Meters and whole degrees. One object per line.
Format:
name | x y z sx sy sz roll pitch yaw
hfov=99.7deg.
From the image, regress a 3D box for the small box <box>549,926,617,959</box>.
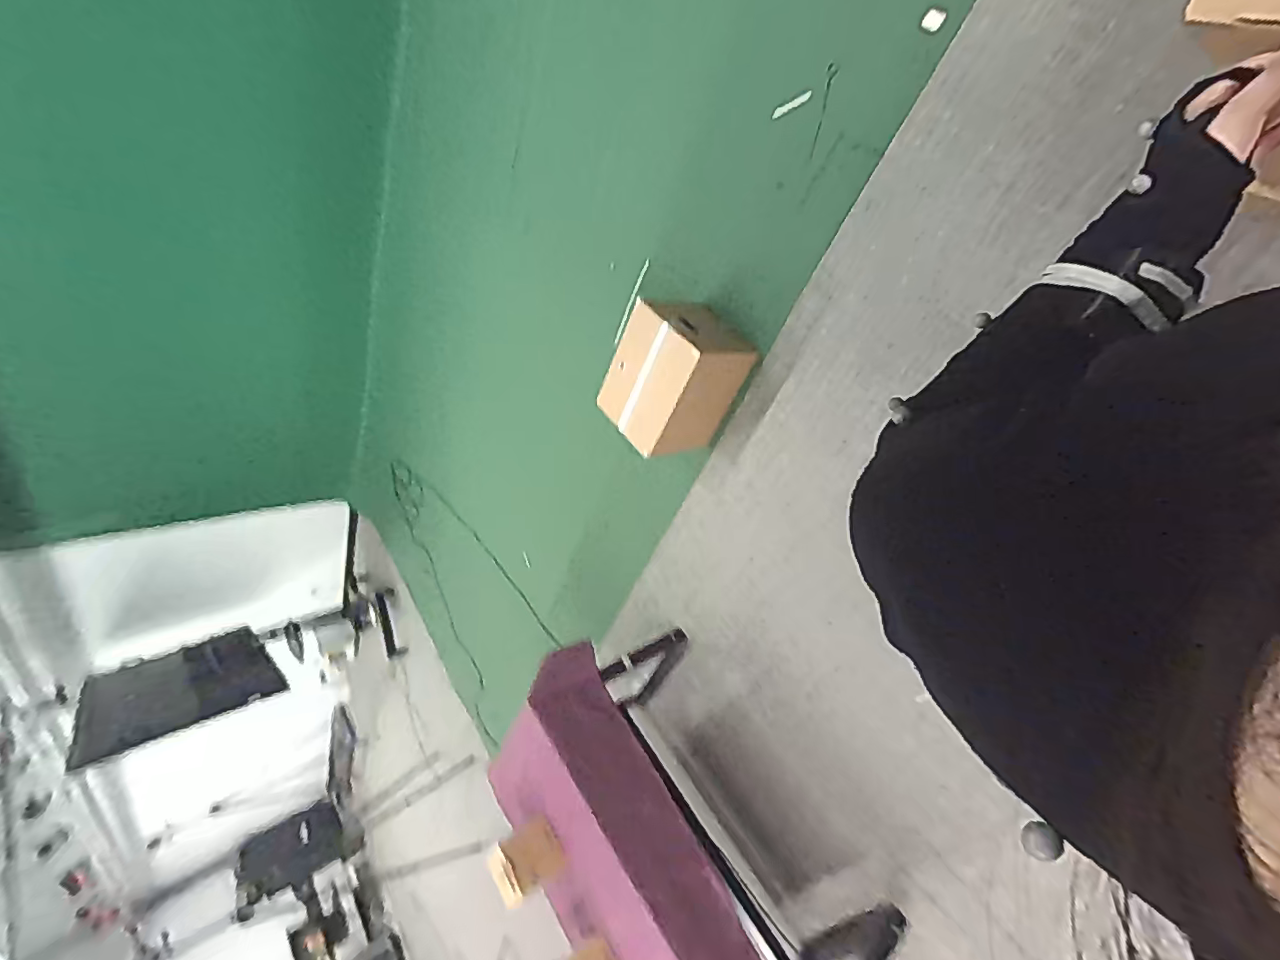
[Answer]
small box | -0.170 1.470 1.596 0.168 0.176 0.179 55 133 23
